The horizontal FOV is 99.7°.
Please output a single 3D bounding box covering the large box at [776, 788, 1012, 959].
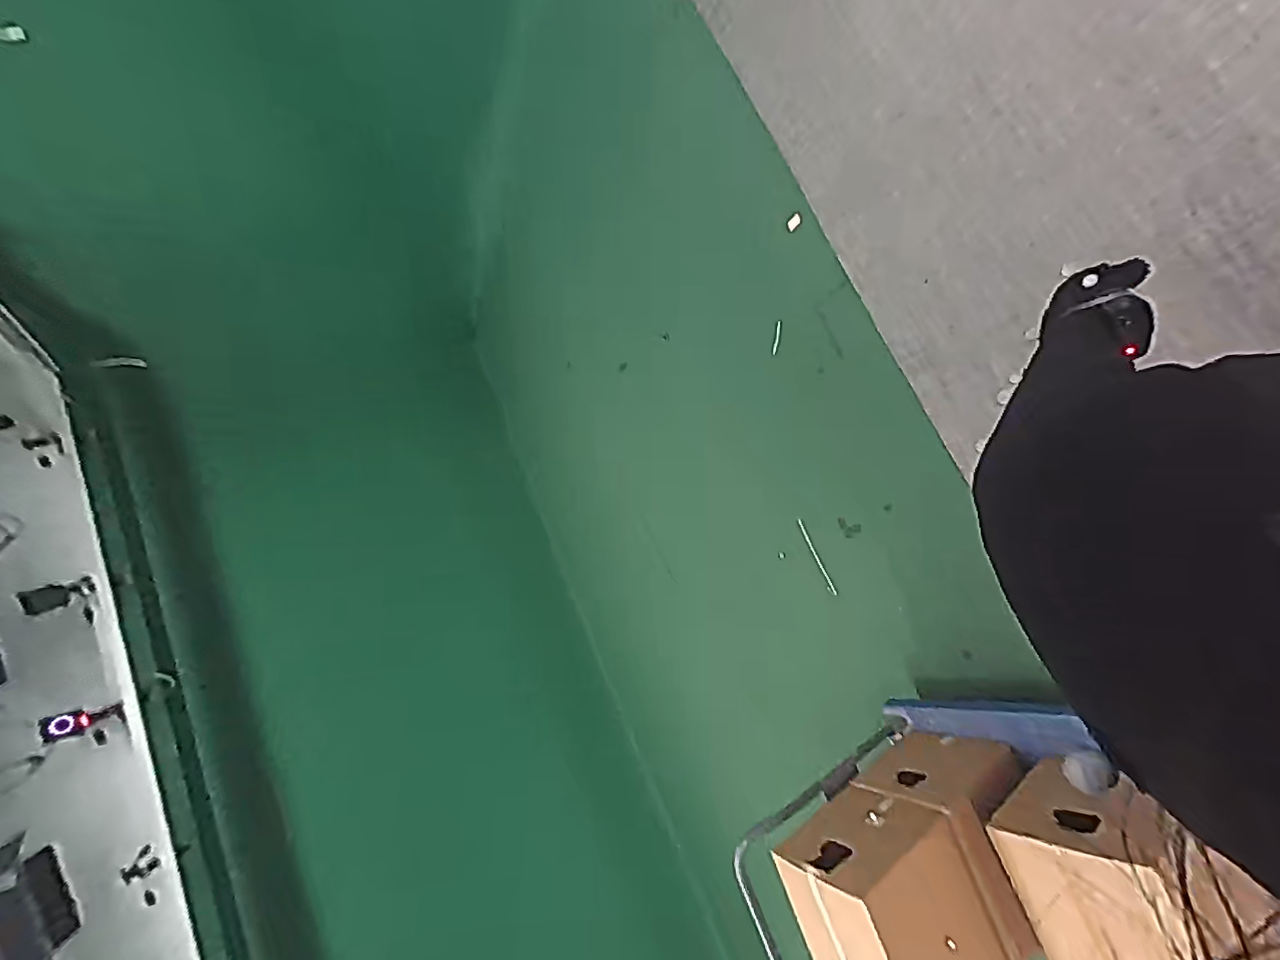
[{"bbox_3d":[0.607,1.044,1.302,0.320,0.320,0.408,-32,79,61],"label":"large box"}]
